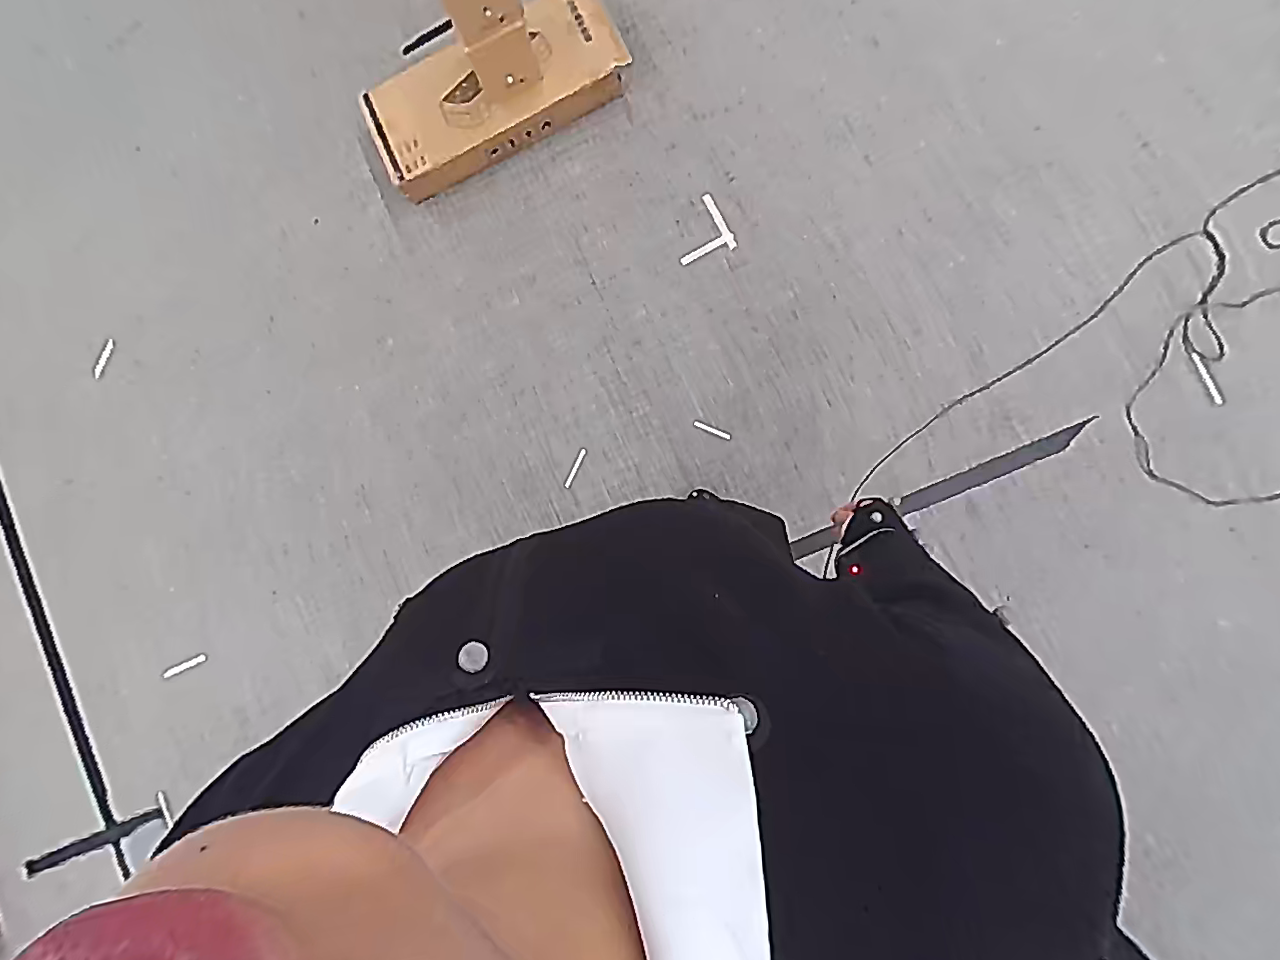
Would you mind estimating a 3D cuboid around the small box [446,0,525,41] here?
[{"bbox_3d":[-0.392,-1.184,1.247,0.168,0.176,0.179,-25,85,6],"label":"small box"}]

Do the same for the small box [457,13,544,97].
[{"bbox_3d":[-0.371,-1.161,1.410,0.168,0.176,0.179,-21,86,6],"label":"small box"}]
